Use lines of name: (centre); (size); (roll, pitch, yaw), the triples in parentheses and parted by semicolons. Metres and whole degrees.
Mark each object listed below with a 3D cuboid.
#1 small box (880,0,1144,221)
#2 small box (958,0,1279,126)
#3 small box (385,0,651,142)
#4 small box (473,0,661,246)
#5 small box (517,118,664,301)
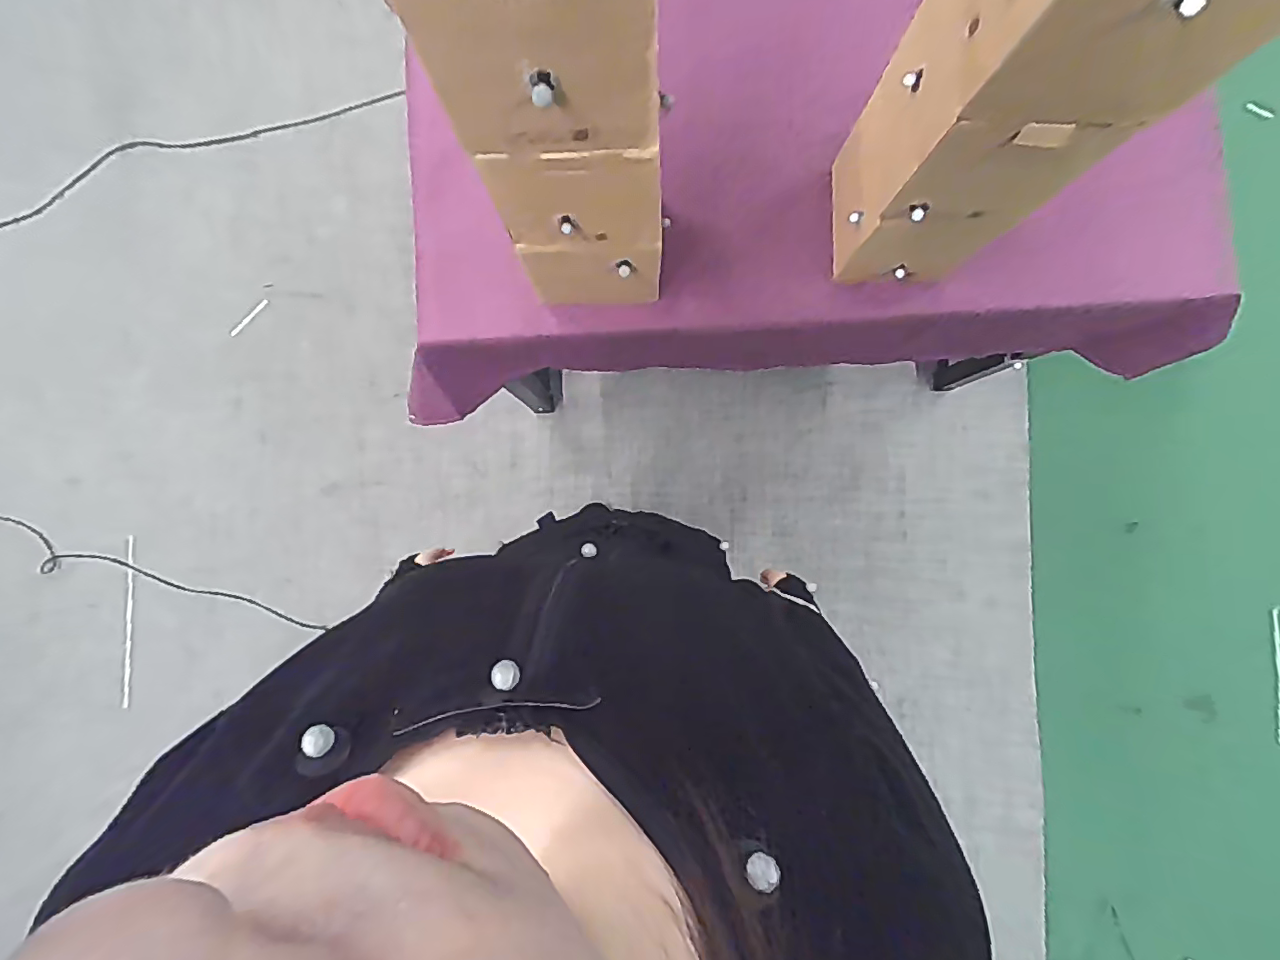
small box: (0.360, -0.388, 0.550); (0.168, 0.176, 0.179); (3, 87, 1)
small box: (0.359, -0.389, 0.387); (0.179, 0.176, 0.168); (4, 89, 1)
small box: (-0.076, -0.378, 0.396); (0.168, 0.176, 0.179); (-1, 88, 0)
small box: (-0.064, -0.367, 0.560); (0.168, 0.176, 0.179); (0, 88, 1)
small box: (-0.058, -0.350, 0.722); (0.179, 0.176, 0.168); (0, 87, 1)
